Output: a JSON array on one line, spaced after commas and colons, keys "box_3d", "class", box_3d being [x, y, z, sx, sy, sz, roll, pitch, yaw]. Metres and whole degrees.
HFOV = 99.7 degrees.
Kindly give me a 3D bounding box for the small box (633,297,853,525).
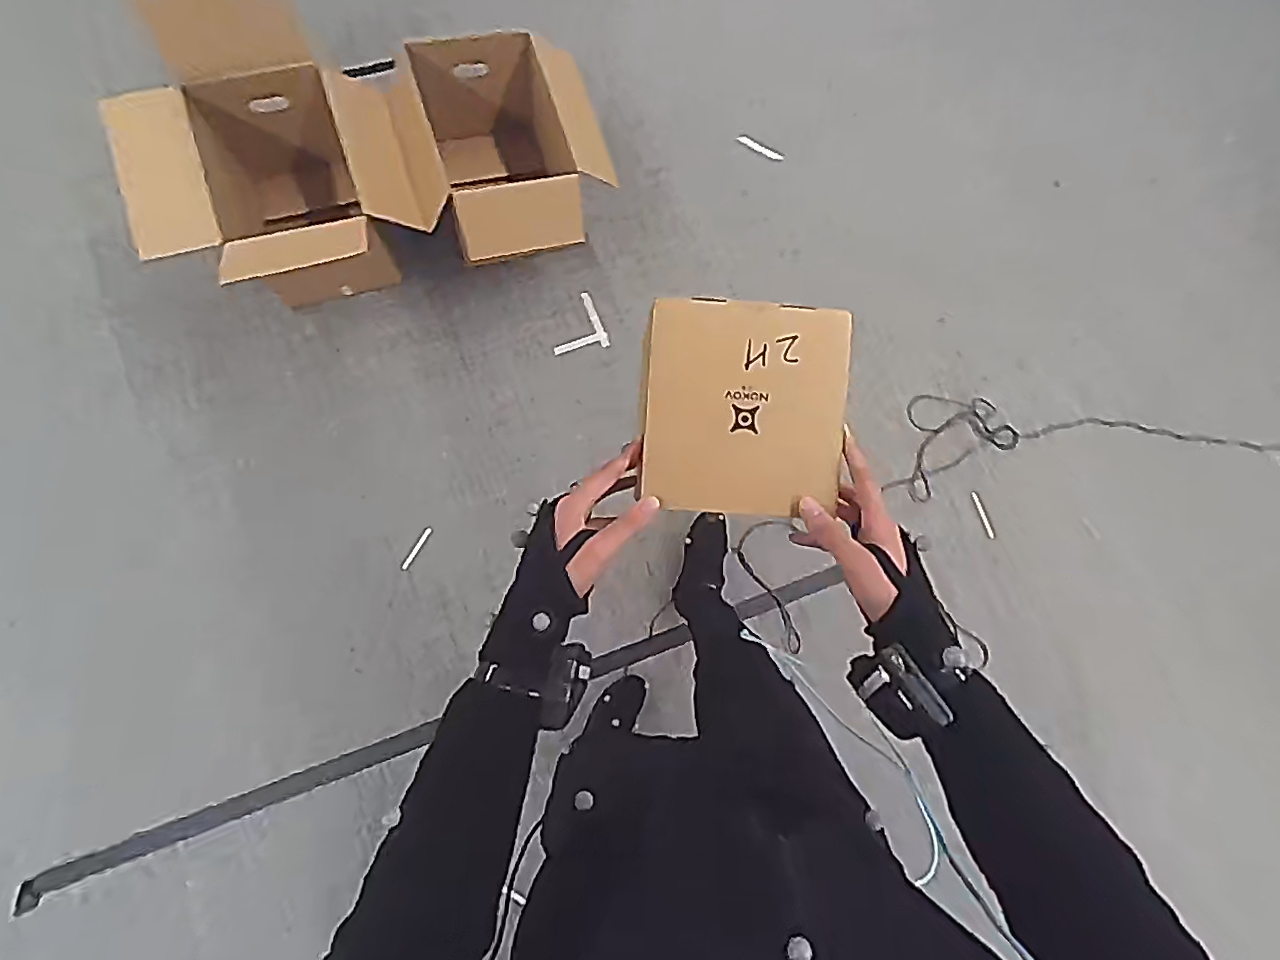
[{"box_3d": [0.081, -0.057, 0.514, 0.168, 0.176, 0.179, 3, 91, -3], "class": "small box"}]
